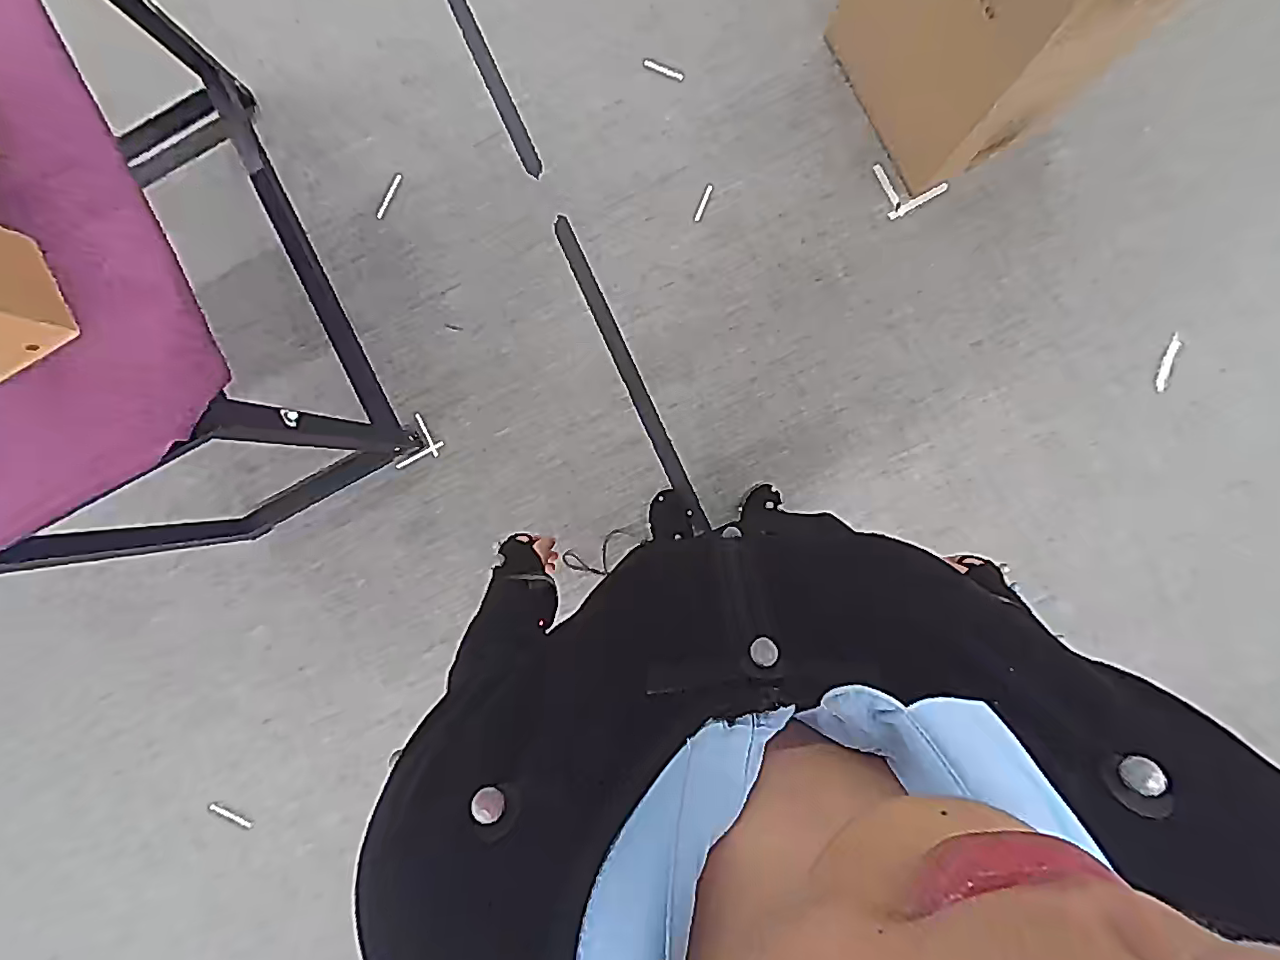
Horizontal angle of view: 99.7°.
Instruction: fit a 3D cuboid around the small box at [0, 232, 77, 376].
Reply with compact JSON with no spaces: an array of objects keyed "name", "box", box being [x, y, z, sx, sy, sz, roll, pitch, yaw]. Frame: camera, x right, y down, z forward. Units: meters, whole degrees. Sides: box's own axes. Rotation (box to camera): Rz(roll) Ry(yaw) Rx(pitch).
[{"name":"small box","box":[-0.976,-0.262,0.765,0.168,0.176,0.179,-29,88,3]}]
